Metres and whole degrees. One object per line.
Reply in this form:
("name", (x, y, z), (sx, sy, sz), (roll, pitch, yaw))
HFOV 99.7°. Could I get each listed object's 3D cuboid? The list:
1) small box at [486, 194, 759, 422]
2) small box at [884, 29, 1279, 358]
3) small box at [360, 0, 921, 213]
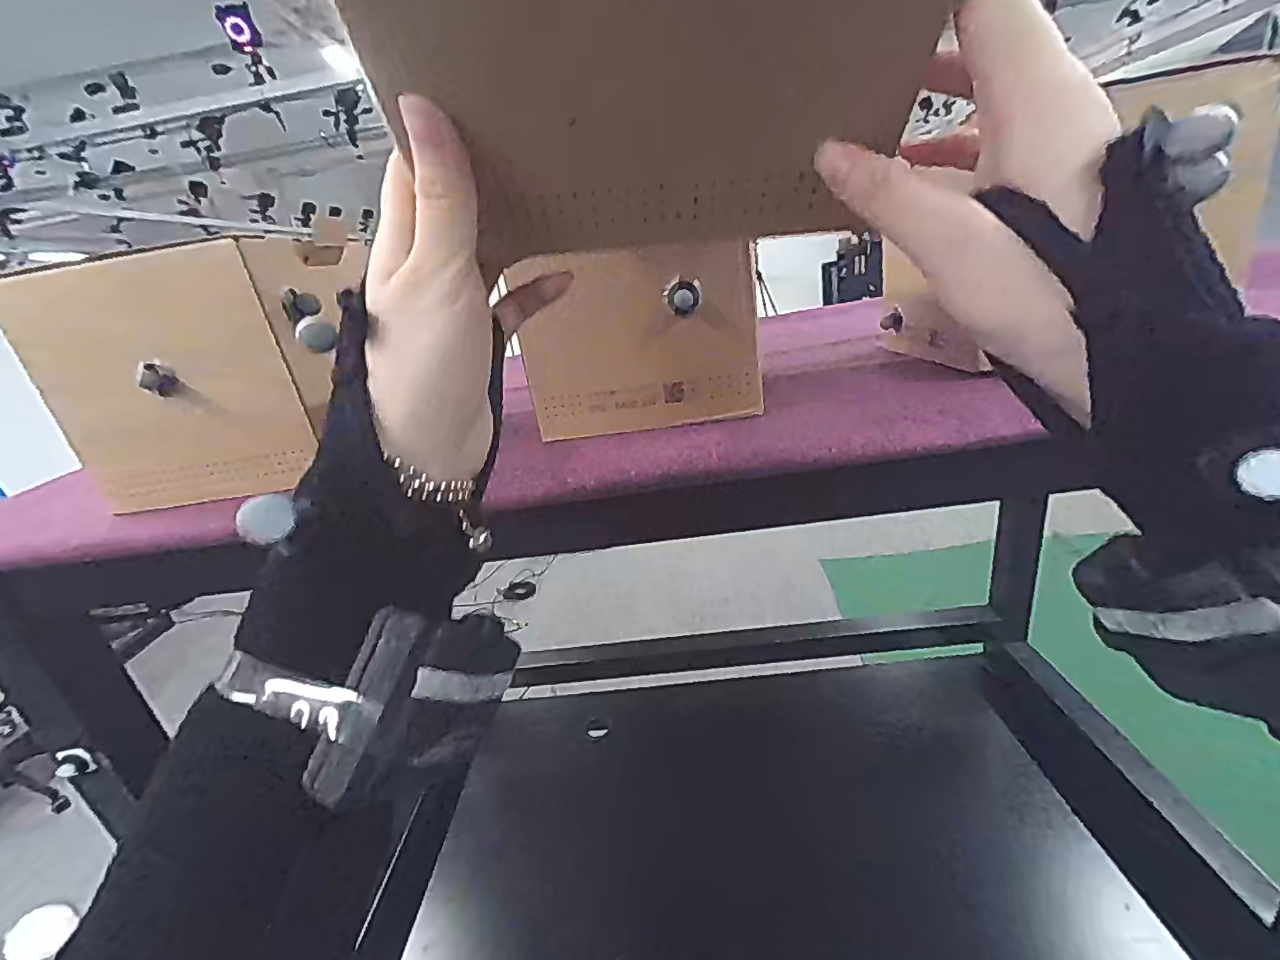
("small box", (0.001, -0.147, 0.434), (0.168, 0.176, 0.179), (-5, 22, 7))
("small box", (0.309, -0.195, 0.417), (0.179, 0.176, 0.168), (-8, 19, 4))
("small box", (-0.003, -0.214, 0.179), (0.179, 0.176, 0.168), (-4, 65, 1))
